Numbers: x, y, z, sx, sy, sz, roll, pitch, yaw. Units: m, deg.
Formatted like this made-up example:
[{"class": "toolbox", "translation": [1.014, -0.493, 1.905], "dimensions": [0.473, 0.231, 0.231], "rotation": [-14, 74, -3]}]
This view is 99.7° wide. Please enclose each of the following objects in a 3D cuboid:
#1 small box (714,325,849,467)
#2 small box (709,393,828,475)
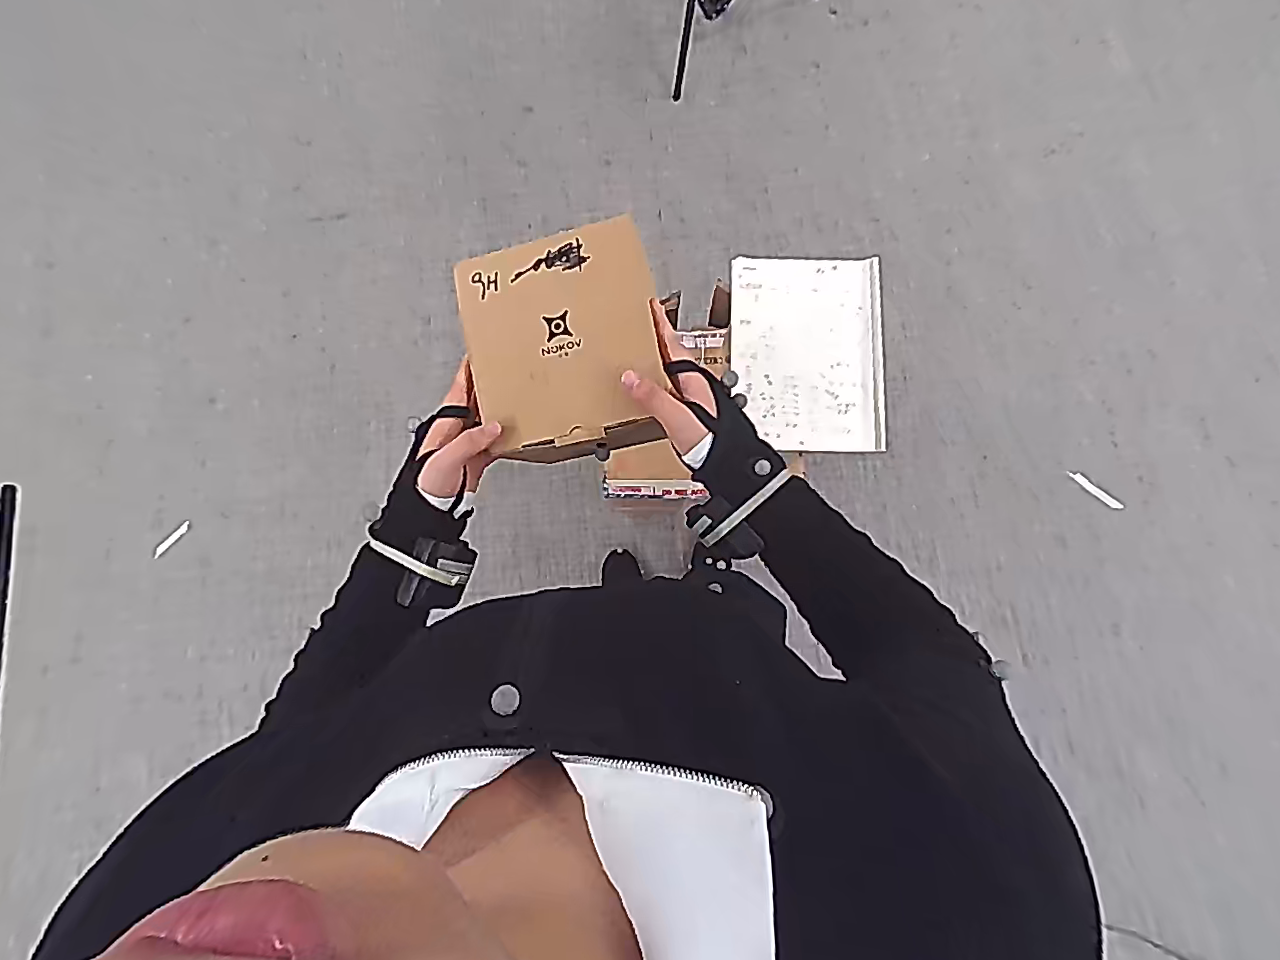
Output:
[{"class": "small box", "translation": [0.206, -0.120, 0.827], "dimensions": [0.168, 0.176, 0.179], "rotation": [1, 84, 0]}, {"class": "small box", "translation": [0.227, -0.102, 0.991], "dimensions": [0.179, 0.176, 0.168], "rotation": [-3, 82, 1]}]
